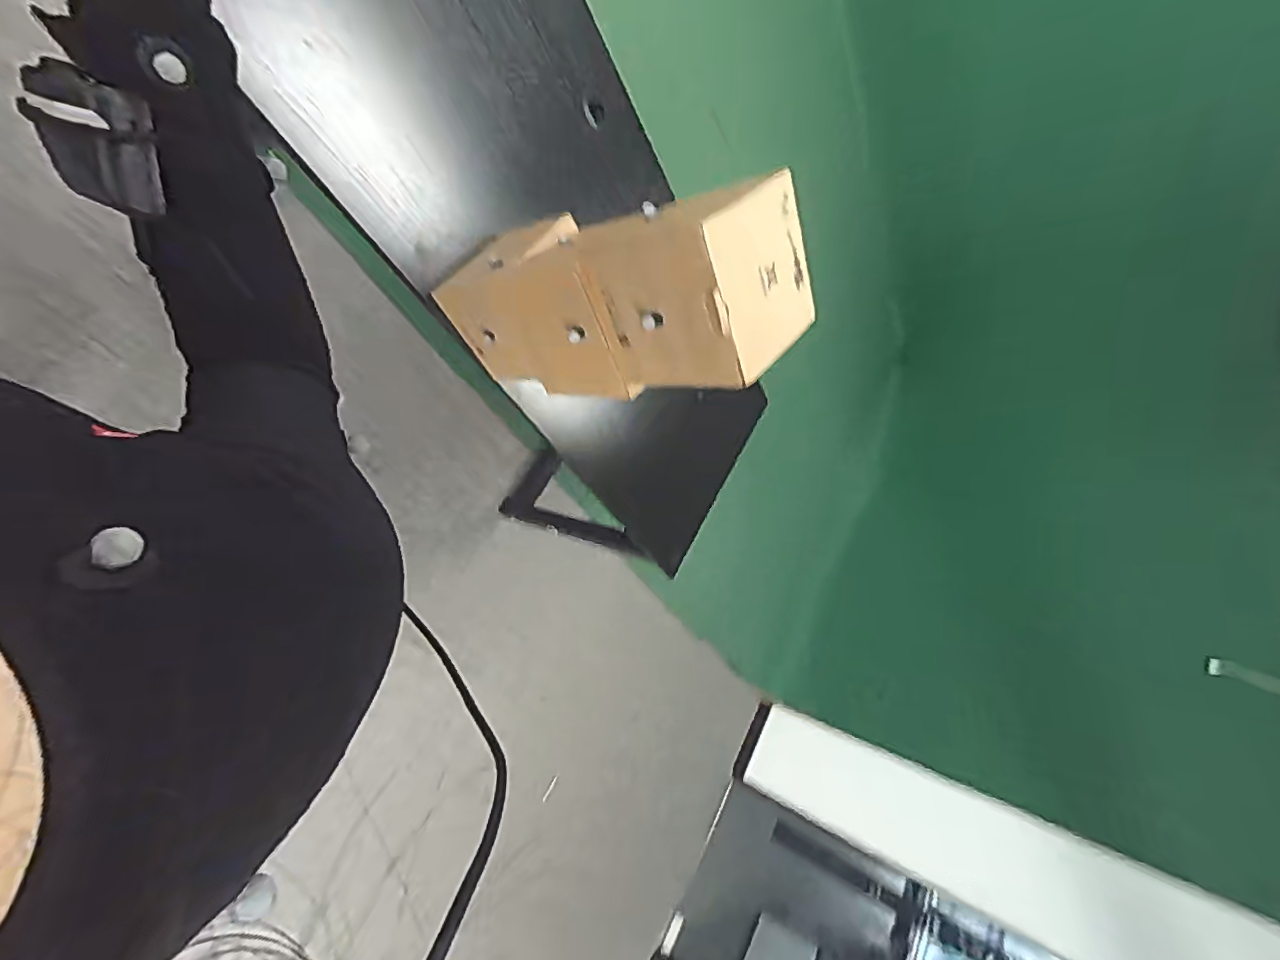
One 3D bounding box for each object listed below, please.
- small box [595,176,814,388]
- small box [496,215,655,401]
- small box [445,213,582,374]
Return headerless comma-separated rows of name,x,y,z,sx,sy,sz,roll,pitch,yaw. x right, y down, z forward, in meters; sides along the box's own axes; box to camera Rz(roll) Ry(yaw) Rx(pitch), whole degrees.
small box,0.071,-0.216,0.615,0.179,0.176,0.168,-43,127,-32
small box,-0.055,-0.225,0.721,0.168,0.176,0.179,-46,129,-31
small box,-0.169,-0.274,0.827,0.179,0.176,0.168,-53,133,-26
